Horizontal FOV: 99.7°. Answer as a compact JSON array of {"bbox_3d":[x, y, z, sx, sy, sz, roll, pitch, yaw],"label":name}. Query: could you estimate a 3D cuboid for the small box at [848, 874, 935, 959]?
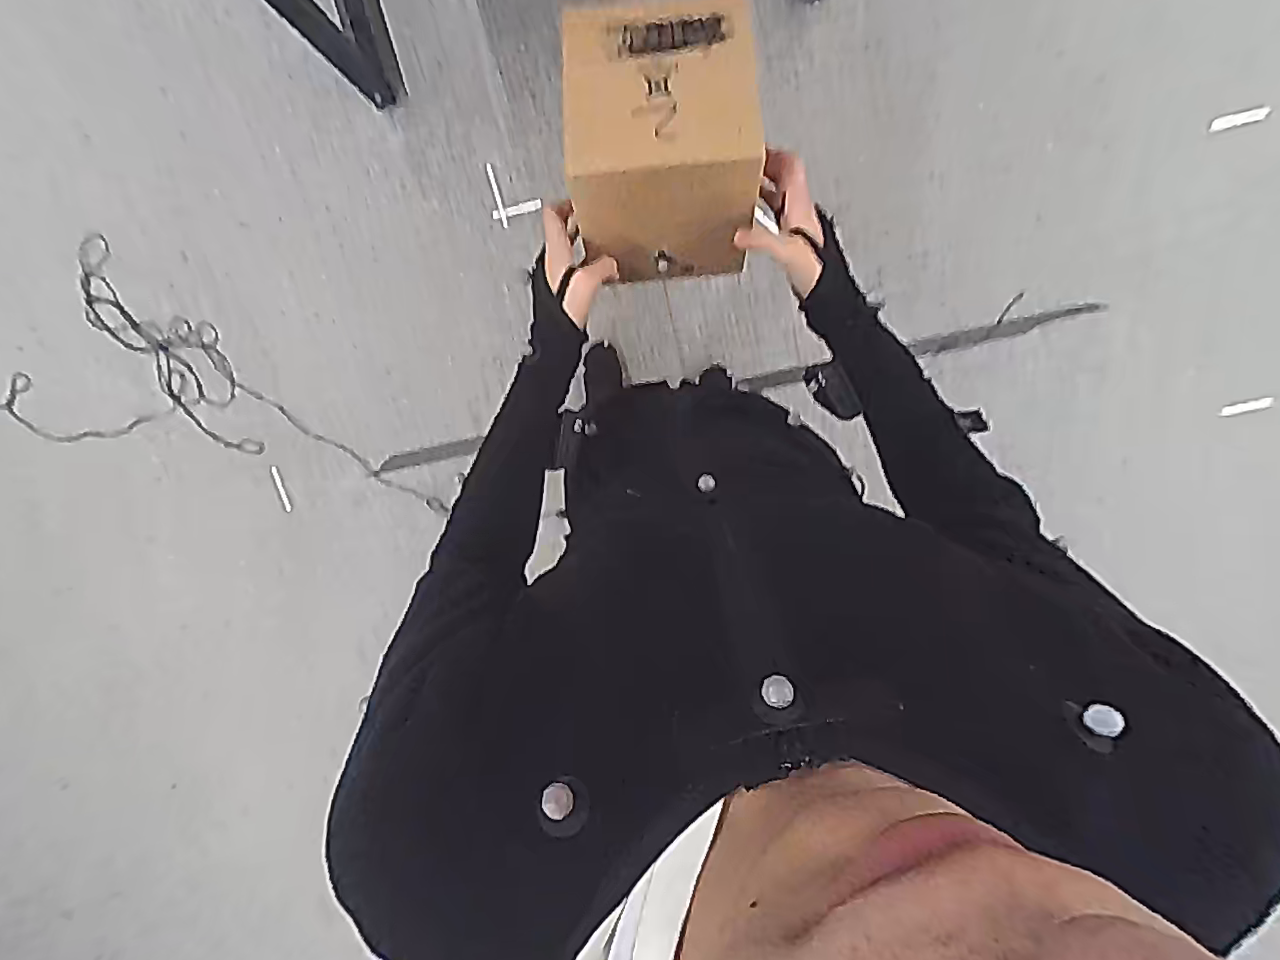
[{"bbox_3d":[0.679,1.216,1.454,0.179,0.176,0.168,-19,105,2],"label":"small box"}]
